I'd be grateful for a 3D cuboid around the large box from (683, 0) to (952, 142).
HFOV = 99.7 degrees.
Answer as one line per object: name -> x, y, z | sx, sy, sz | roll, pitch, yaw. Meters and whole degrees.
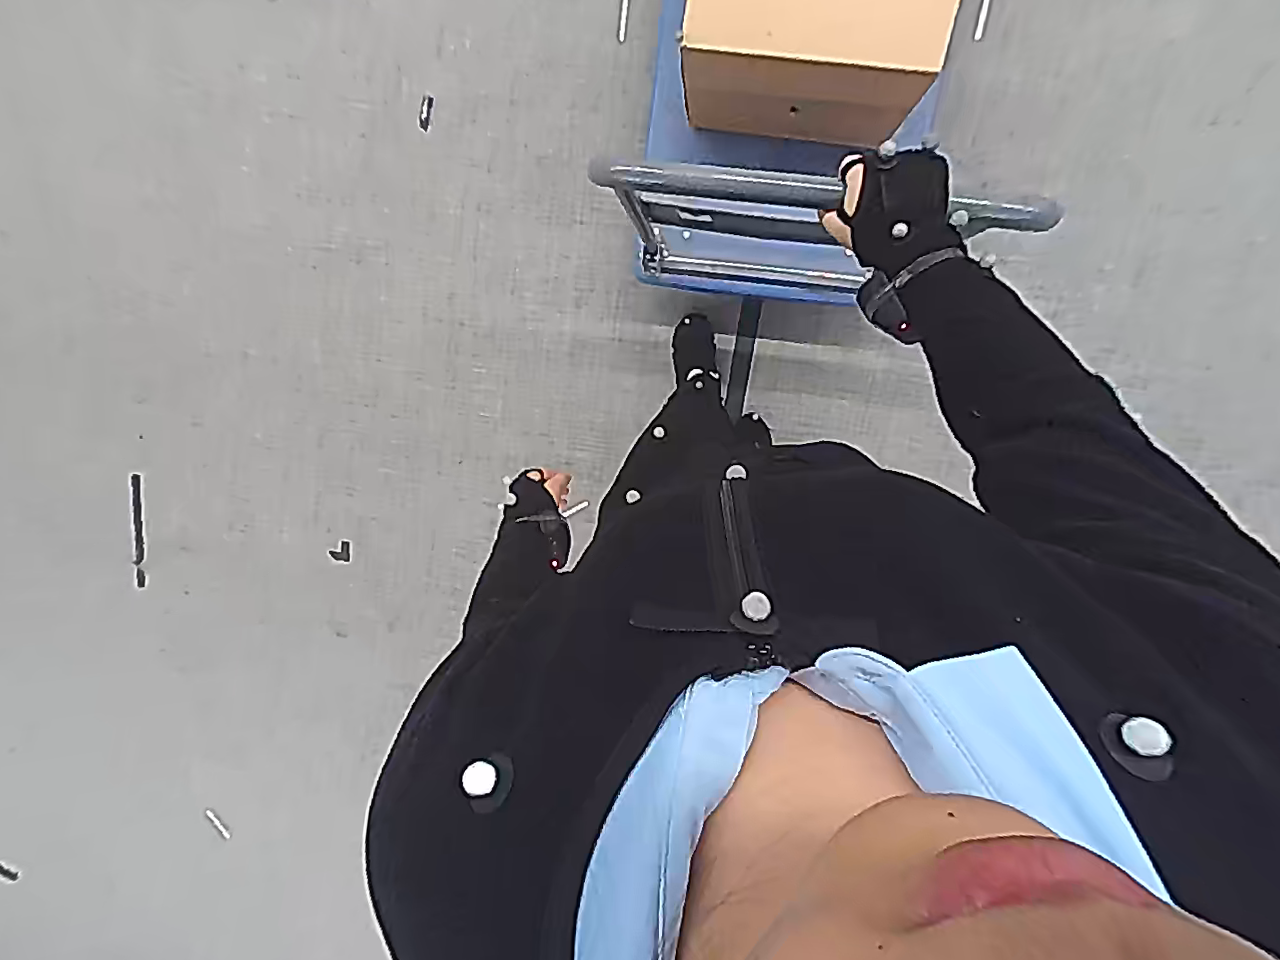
large box -> 0.307, -0.841, 0.963 | 0.408, 0.320, 0.320 | 11, 102, 6
